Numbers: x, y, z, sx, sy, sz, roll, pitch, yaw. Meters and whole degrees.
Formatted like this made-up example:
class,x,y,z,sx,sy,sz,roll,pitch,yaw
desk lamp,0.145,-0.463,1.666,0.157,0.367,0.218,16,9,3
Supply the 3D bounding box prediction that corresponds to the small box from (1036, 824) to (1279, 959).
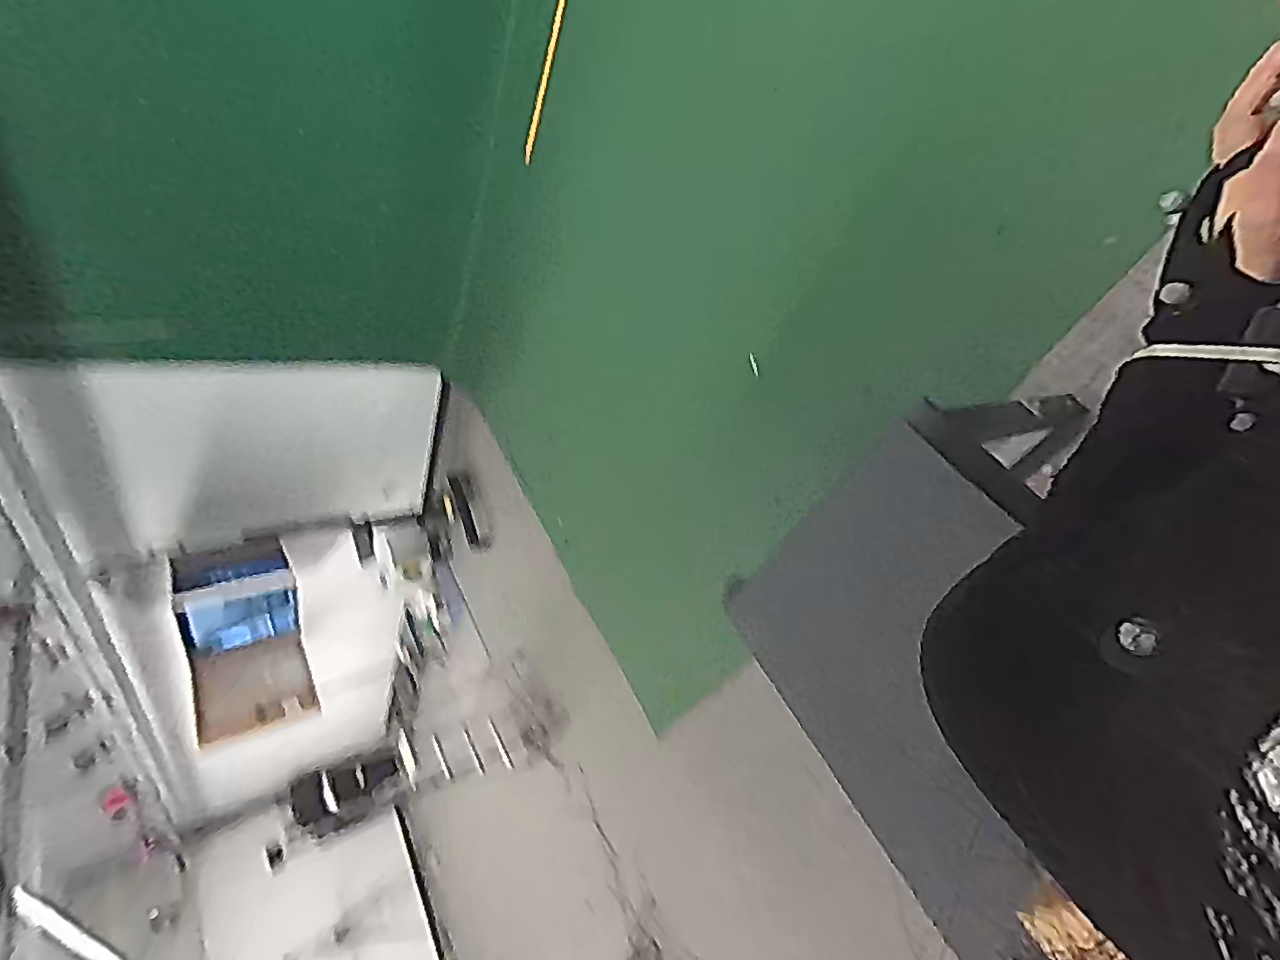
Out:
class,x,y,z,sx,sy,sz,roll,pitch,yaw
small box,0.571,0.493,0.552,0.168,0.176,0.179,56,137,29
